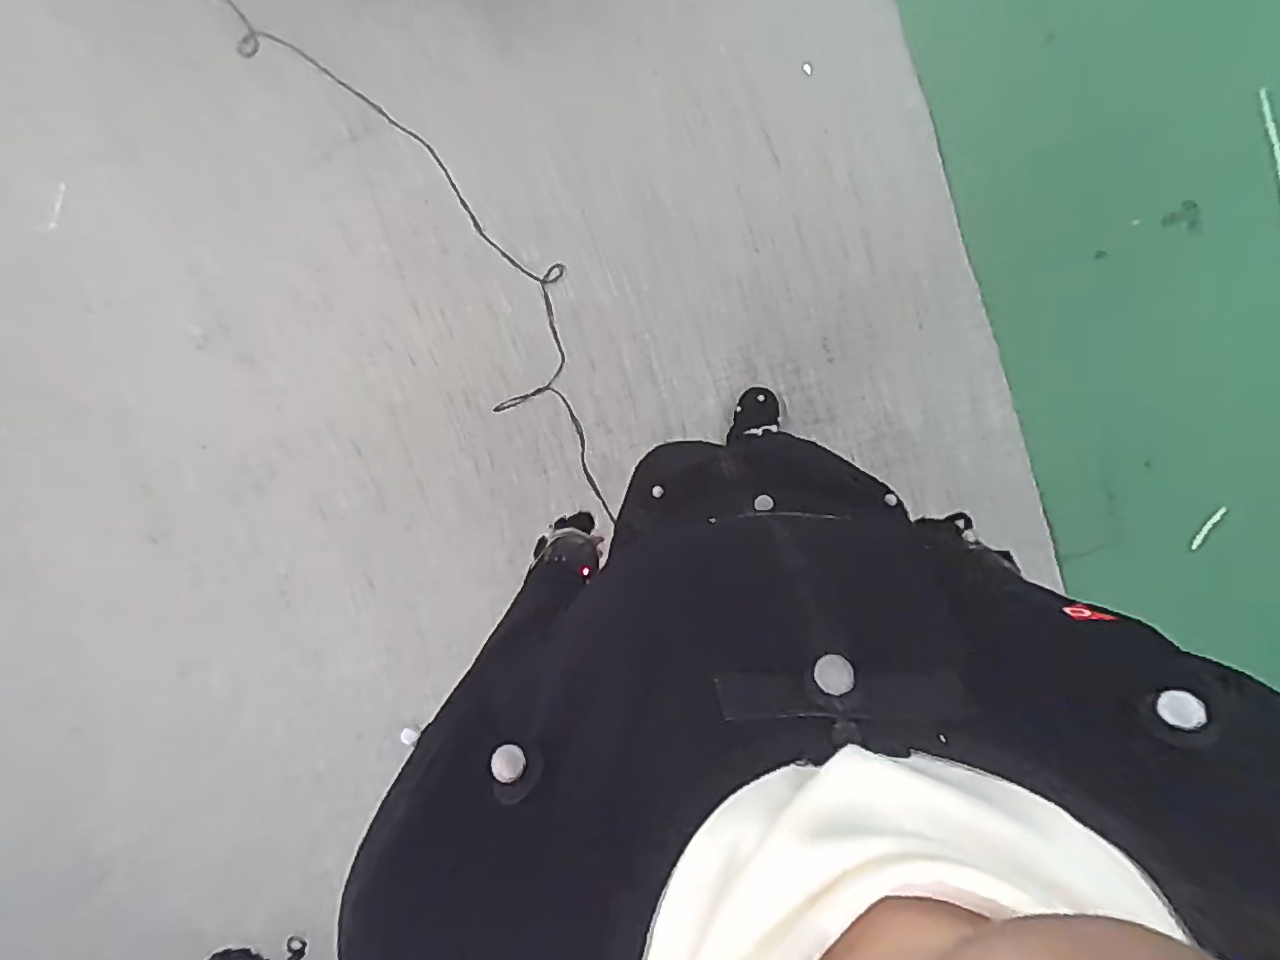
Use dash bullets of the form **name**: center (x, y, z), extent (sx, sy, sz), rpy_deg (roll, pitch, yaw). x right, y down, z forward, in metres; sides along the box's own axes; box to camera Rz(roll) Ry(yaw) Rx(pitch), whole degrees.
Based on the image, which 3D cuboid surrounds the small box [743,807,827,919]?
- **small box**: center (0.378, 1.014, 1.444), extent (0.179, 0.176, 0.168), rpy_deg (-15, 96, 6)
